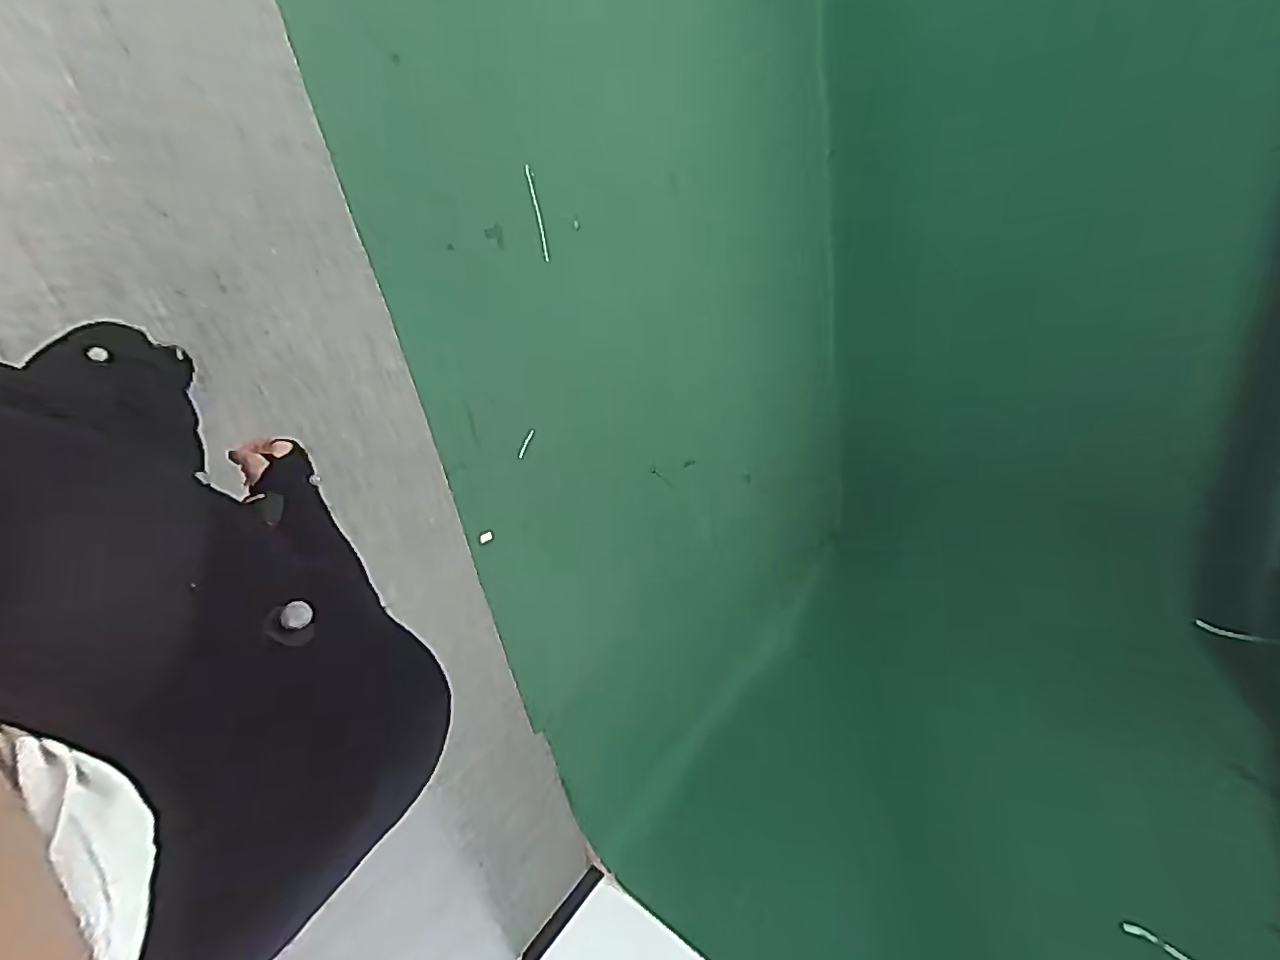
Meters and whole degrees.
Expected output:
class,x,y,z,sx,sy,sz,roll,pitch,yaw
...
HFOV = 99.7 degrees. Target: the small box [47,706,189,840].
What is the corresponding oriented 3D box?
class,x,y,z,sx,sy,sz,roll,pitch,yaw
small box,-1.141,0.623,1.181,0.168,0.176,0.179,-32,120,-42
